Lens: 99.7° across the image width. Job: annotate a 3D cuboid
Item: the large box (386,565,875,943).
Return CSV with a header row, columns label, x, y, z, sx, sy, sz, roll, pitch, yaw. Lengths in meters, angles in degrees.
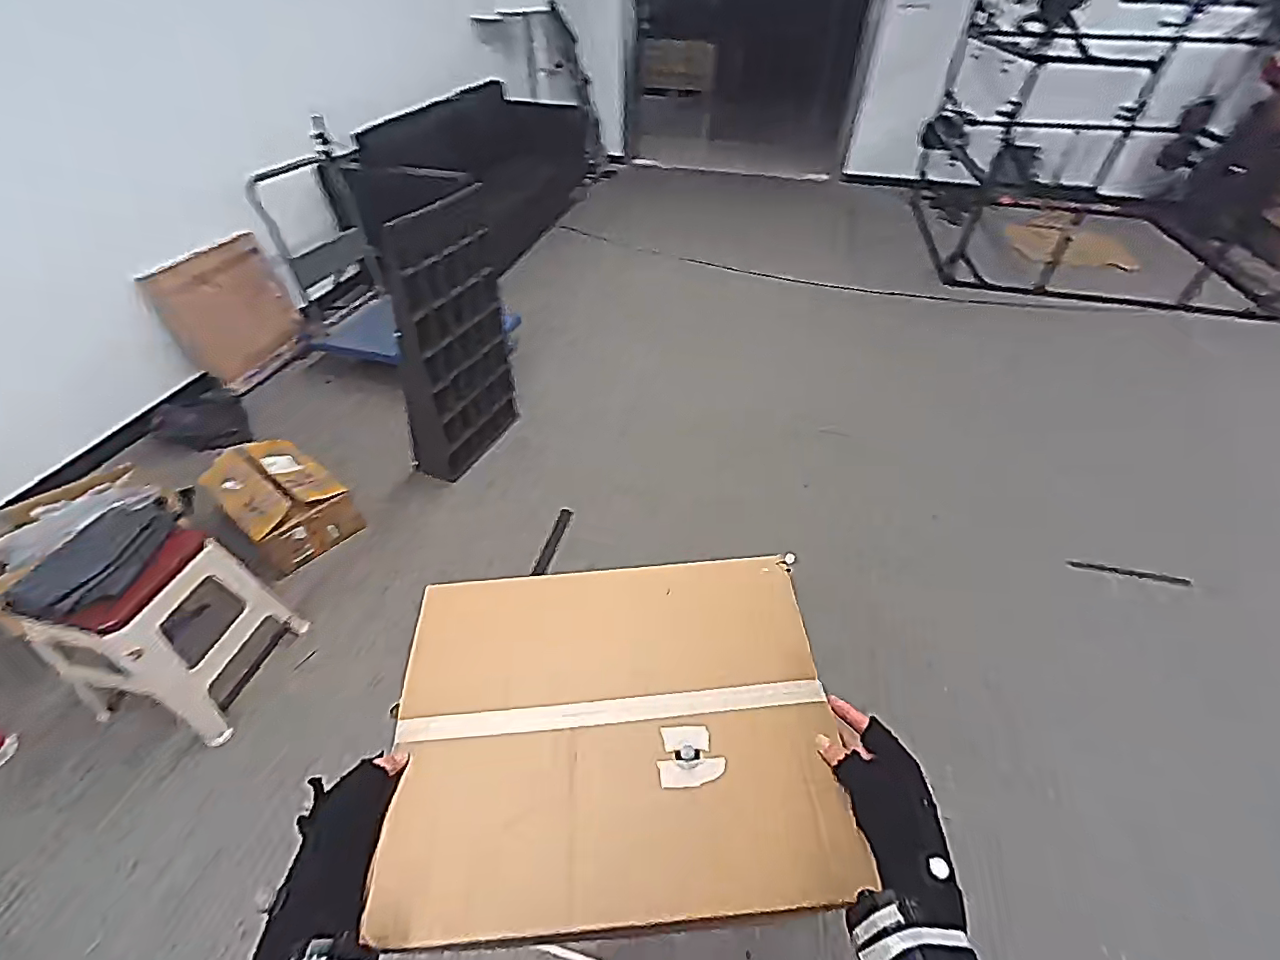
label,x,y,z,sx,sy,sz,roll,pitch,yaw
large box,-0.012,0.325,0.639,0.408,0.320,0.320,-3,49,-1
